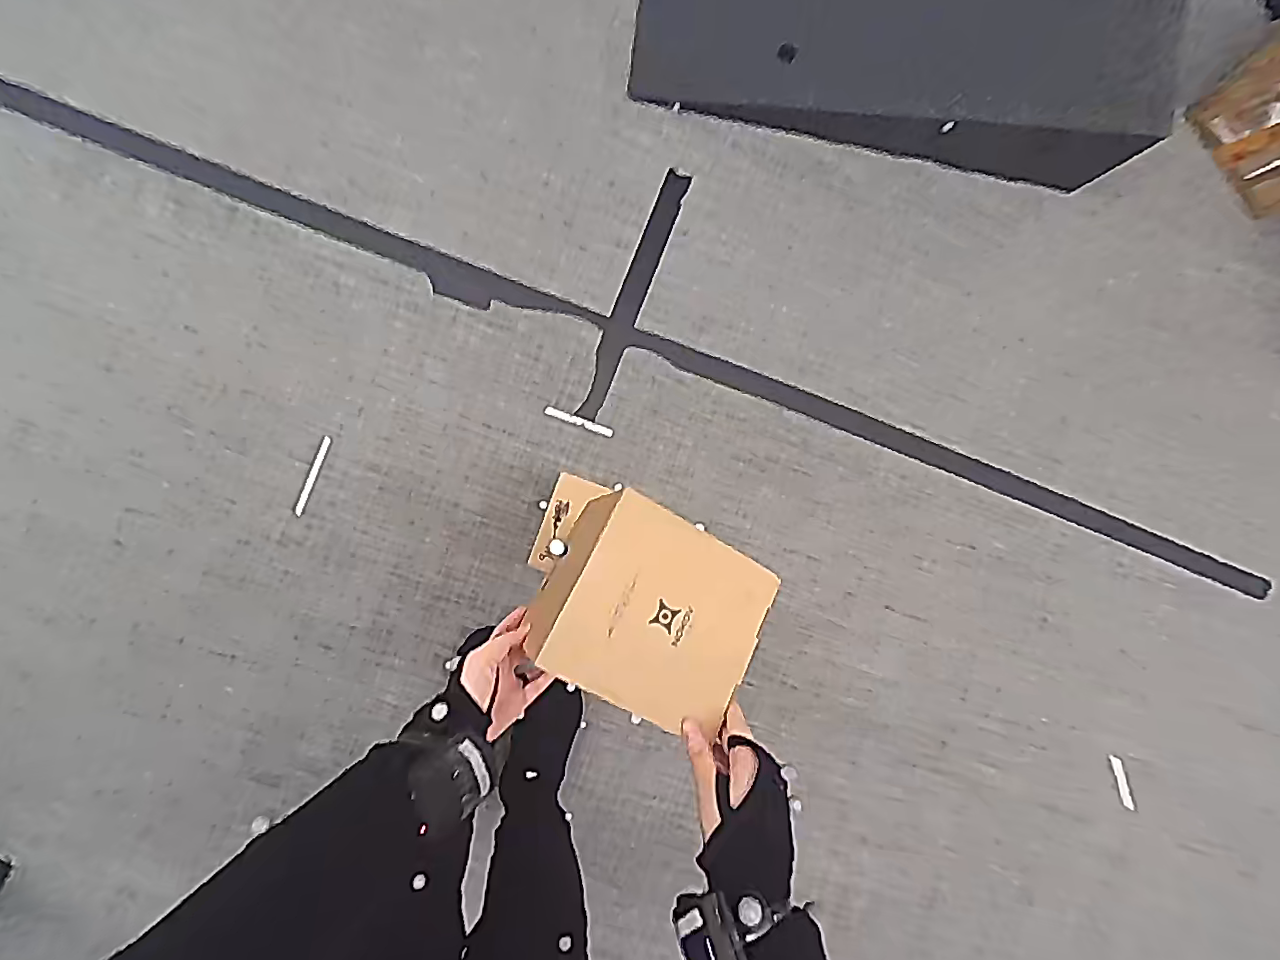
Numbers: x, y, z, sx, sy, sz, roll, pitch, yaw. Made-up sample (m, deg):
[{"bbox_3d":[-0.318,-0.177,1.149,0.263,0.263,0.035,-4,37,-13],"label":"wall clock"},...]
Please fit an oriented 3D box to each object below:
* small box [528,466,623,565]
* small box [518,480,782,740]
[{"bbox_3d":[-0.082,0.078,0.951,0.179,0.176,0.168,21,88,-8],"label":"small box"},{"bbox_3d":[-0.001,0.117,0.535,0.179,0.176,0.168,32,75,-12],"label":"small box"}]
